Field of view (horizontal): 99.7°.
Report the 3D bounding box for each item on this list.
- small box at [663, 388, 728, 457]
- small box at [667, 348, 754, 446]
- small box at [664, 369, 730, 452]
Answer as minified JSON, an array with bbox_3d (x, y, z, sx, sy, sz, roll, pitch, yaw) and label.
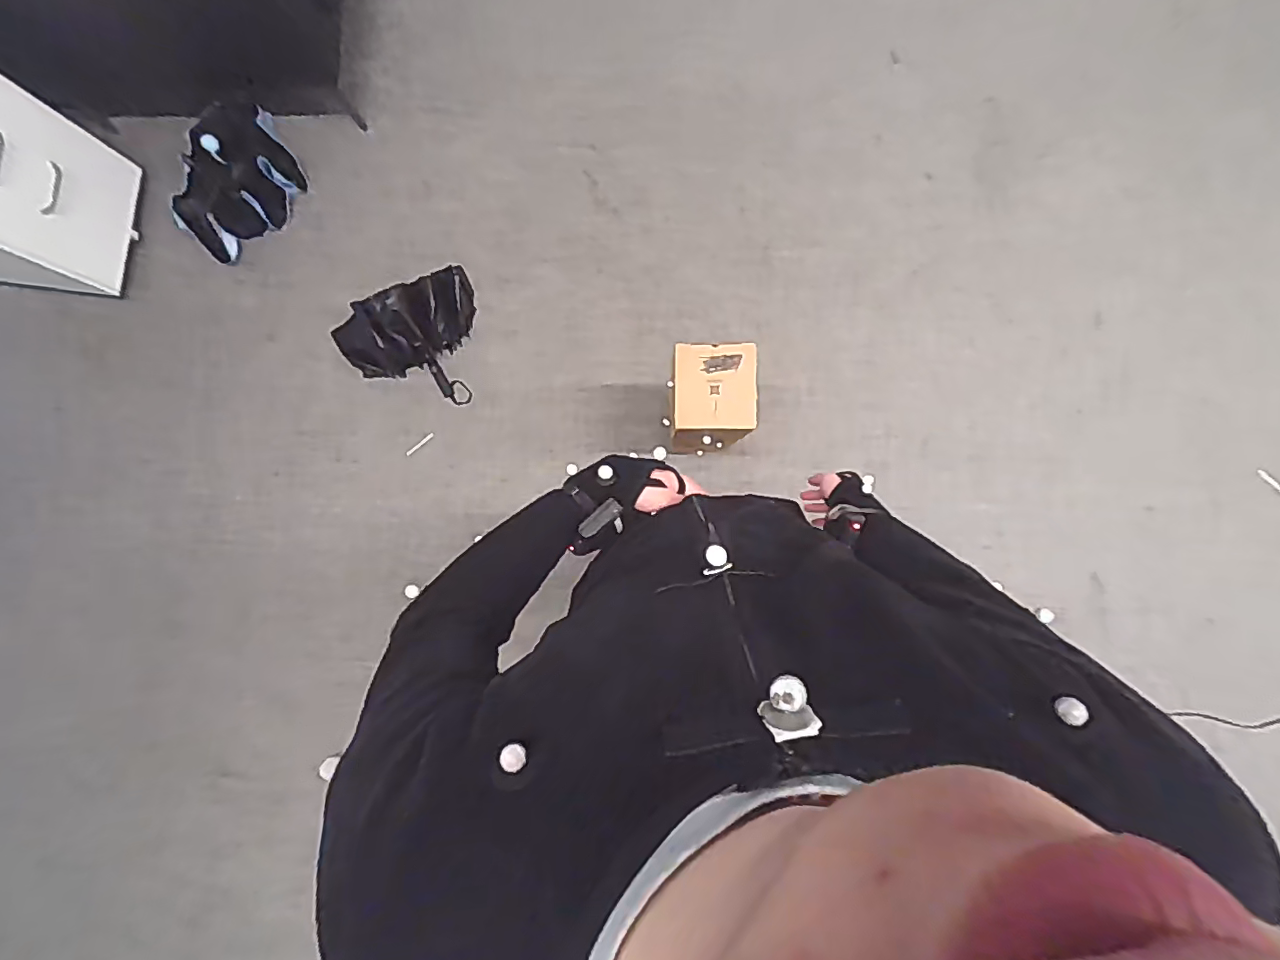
[{"bbox_3d":[0.149,-0.154,1.478,0.168,0.176,0.179,0,87,1],"label":"small box"},{"bbox_3d":[0.144,-0.170,1.152,0.168,0.176,0.179,1,88,1],"label":"small box"},{"bbox_3d":[0.145,-0.164,1.317,0.168,0.176,0.179,0,85,1],"label":"small box"}]
